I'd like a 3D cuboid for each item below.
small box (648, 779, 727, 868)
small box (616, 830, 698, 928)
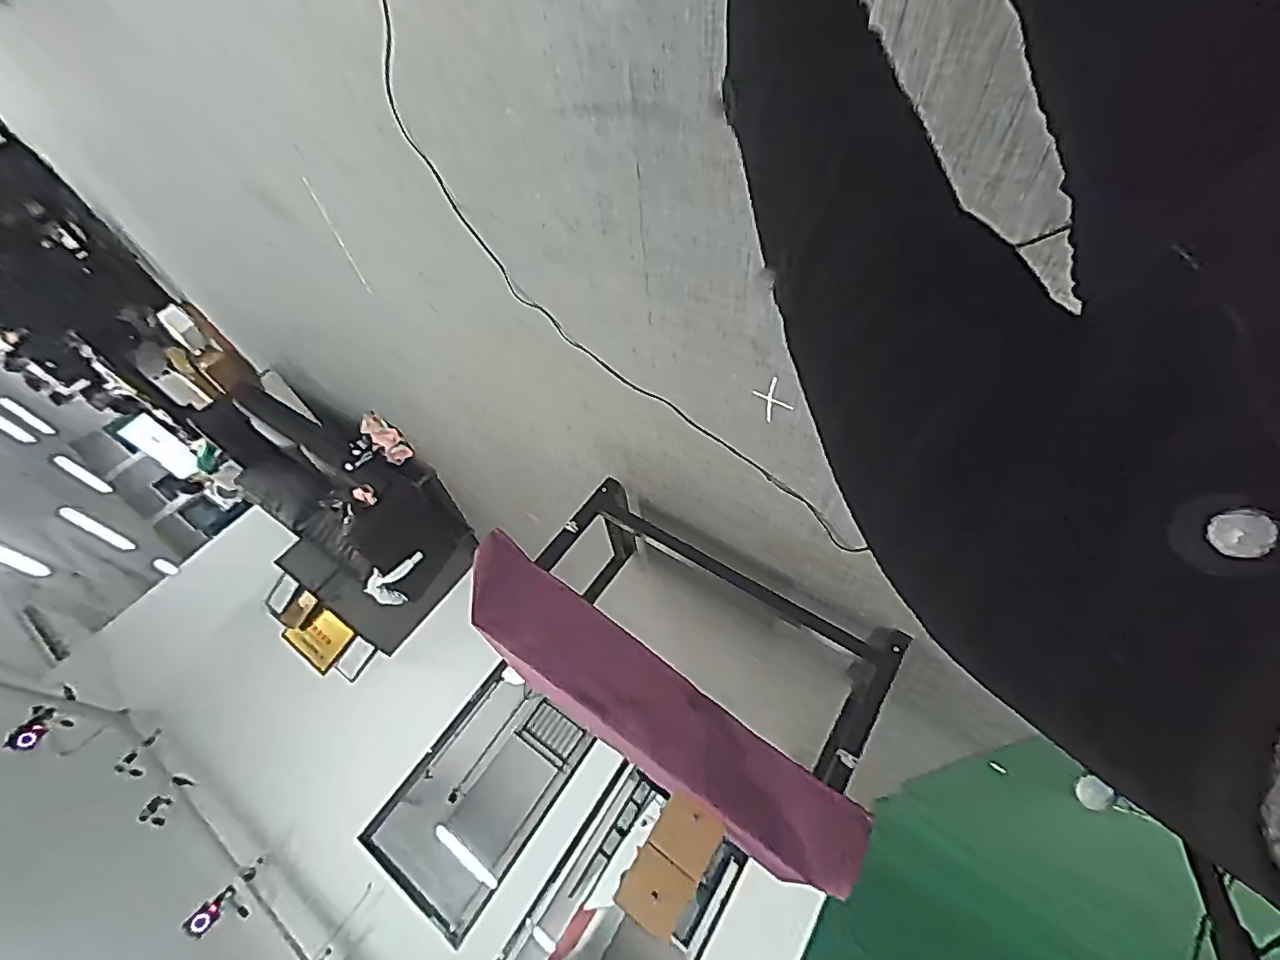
[{"bbox_3d":[0.149,1.043,1.655,0.179,0.176,0.168,27,152,25],"label":"small box"},{"bbox_3d":[0.054,1.158,1.585,0.179,0.176,0.168,26,152,24],"label":"small box"}]
